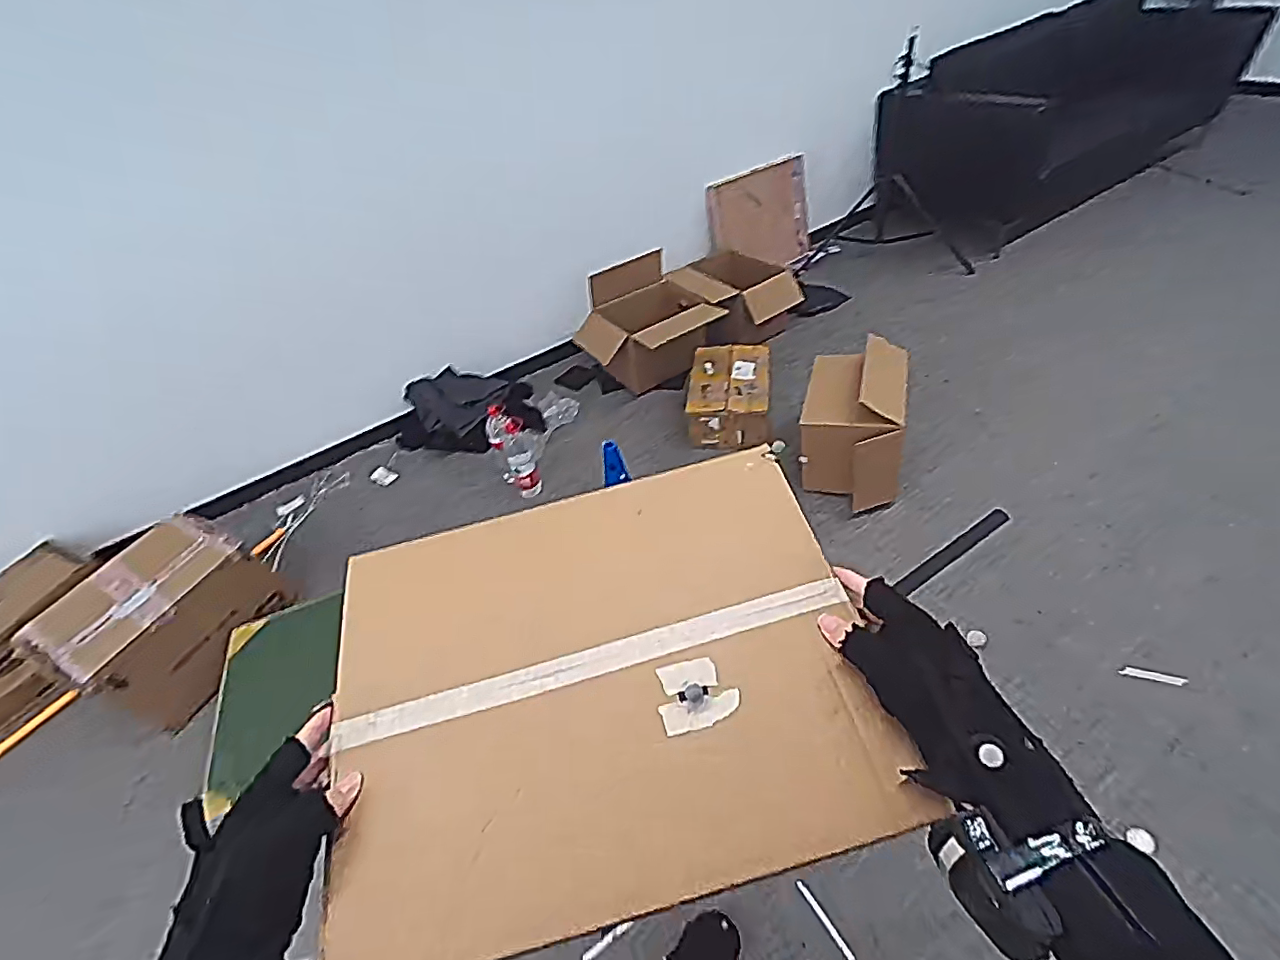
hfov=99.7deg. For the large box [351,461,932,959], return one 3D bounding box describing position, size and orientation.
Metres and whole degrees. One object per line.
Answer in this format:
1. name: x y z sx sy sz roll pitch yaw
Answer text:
1. large box: -0.012 0.237 0.556 0.408 0.320 0.320 -15 54 -3
